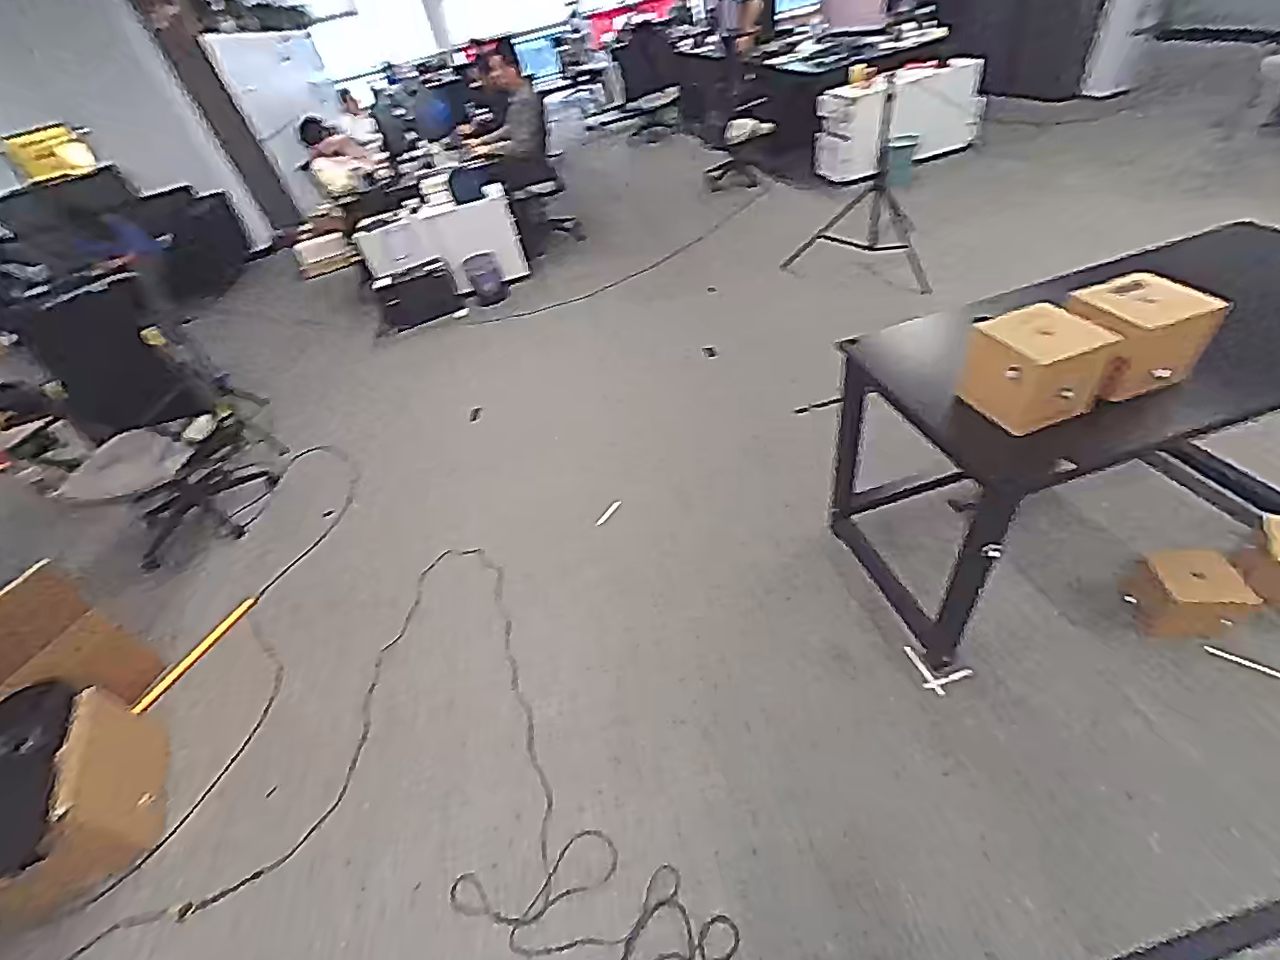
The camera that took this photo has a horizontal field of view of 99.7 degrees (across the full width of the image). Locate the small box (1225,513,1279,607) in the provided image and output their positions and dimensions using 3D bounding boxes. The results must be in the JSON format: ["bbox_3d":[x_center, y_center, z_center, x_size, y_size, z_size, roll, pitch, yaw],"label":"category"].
[{"bbox_3d":[1.719,0.221,1.441,0.168,0.176,0.179,14,49,28],"label":"small box"}]

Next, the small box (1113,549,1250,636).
[{"bbox_3d":[1.427,0.301,1.441,0.179,0.176,0.168,-4,43,12],"label":"small box"}]

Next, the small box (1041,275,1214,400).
[{"bbox_3d":[0.978,-0.291,1.108,0.168,0.176,0.179,-18,43,-4],"label":"small box"}]
